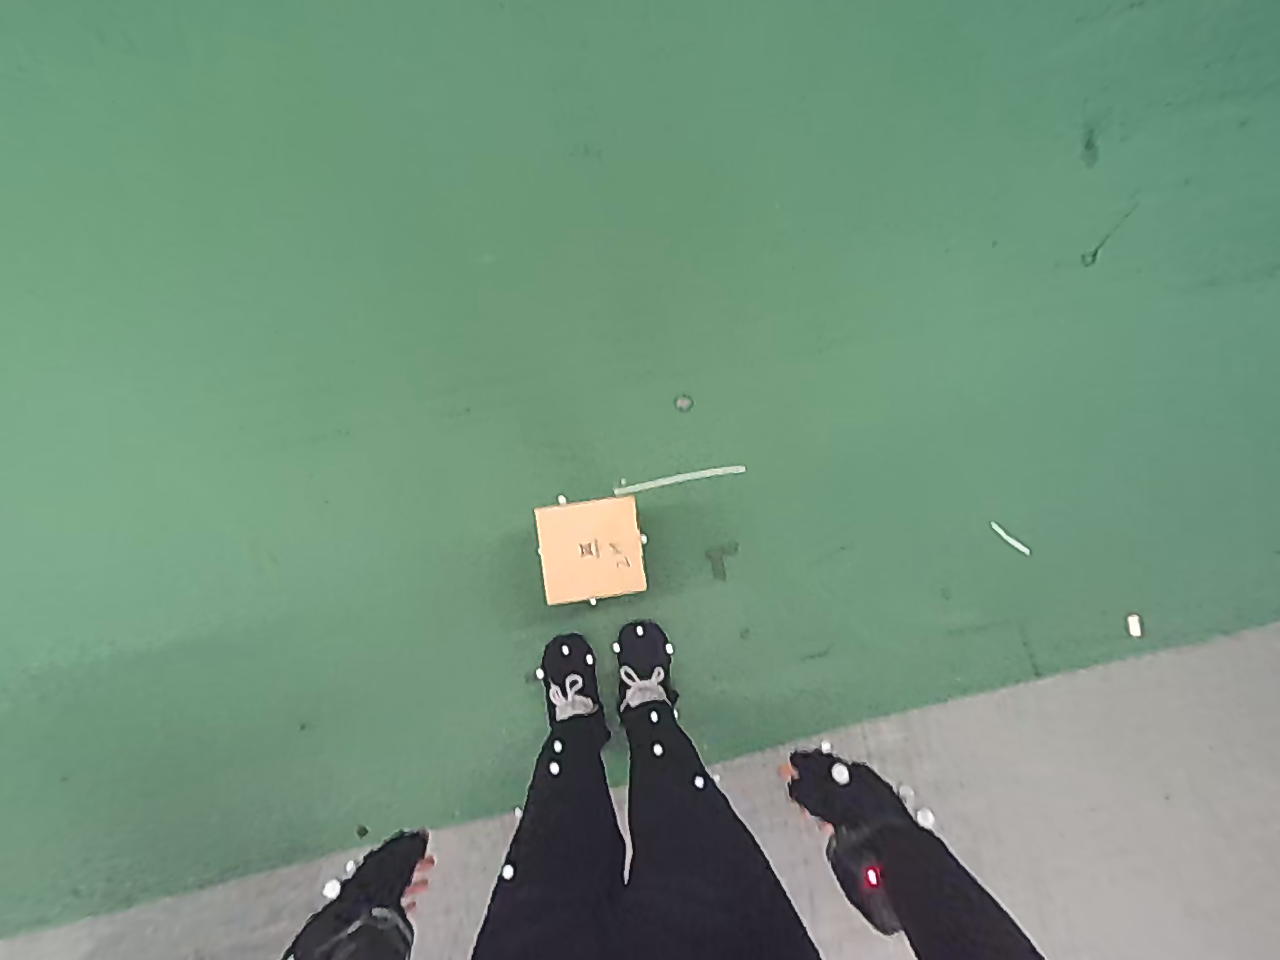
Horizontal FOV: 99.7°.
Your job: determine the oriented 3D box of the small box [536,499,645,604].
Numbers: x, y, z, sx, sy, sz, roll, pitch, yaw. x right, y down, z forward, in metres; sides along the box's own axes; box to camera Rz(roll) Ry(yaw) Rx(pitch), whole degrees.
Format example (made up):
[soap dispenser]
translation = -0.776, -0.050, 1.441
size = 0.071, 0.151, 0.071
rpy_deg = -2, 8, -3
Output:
[small box]
translation = -0.089, 0.130, 1.010
size = 0.179, 0.176, 0.168
rpy_deg = -7, 86, -5
